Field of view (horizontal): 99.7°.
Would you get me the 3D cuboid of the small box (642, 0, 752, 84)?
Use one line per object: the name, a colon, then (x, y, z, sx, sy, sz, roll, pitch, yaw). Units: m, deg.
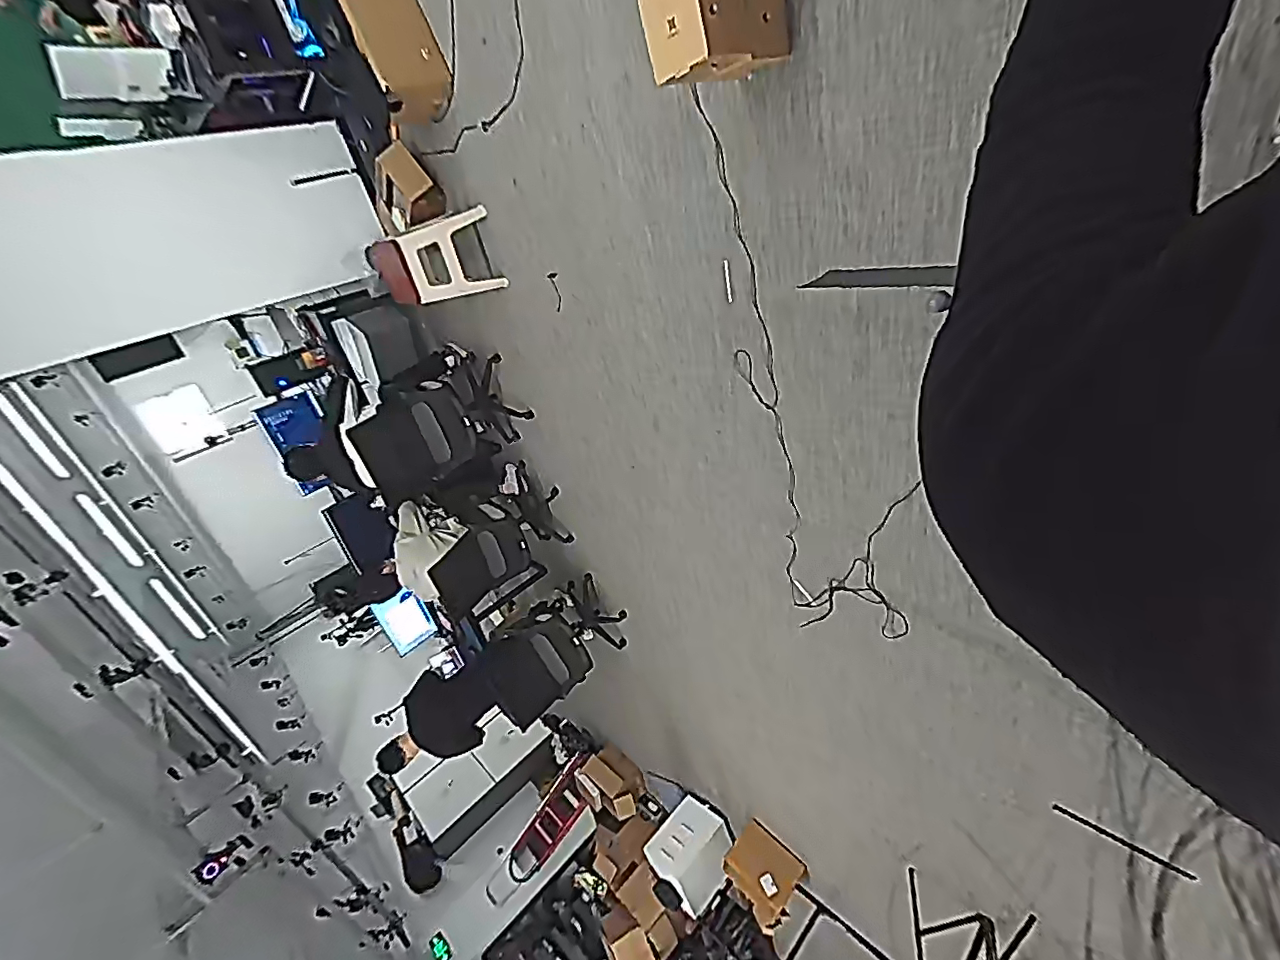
small box: (0.136, -1.042, 1.234, 0.168, 0.176, 0.179, 11, 125, 47)

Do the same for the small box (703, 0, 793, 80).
small box: (0.253, -1.114, 1.322, 0.168, 0.176, 0.179, 15, 131, 46)
